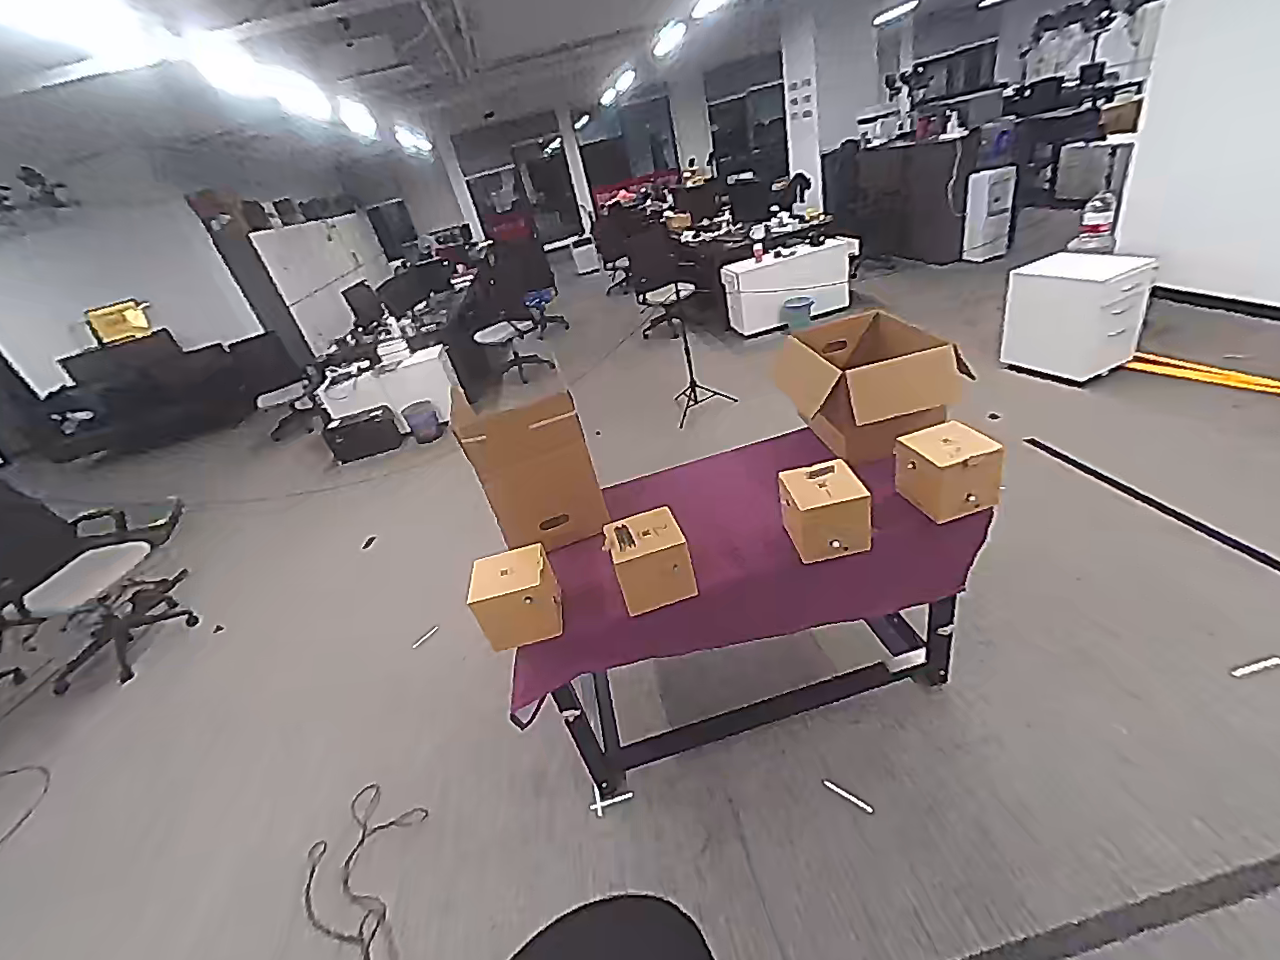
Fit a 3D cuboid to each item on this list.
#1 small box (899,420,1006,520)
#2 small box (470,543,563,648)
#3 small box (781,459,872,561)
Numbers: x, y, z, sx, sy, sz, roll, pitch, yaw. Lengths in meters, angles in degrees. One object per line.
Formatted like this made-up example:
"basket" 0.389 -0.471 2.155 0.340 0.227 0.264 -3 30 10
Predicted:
"small box" 0.777 -0.025 1.363 0.168 0.176 0.179 -18 31 -2
"small box" -0.296 0.285 1.330 0.179 0.176 0.168 -14 30 -2
"small box" 0.459 0.074 1.344 0.168 0.176 0.179 -13 32 3
